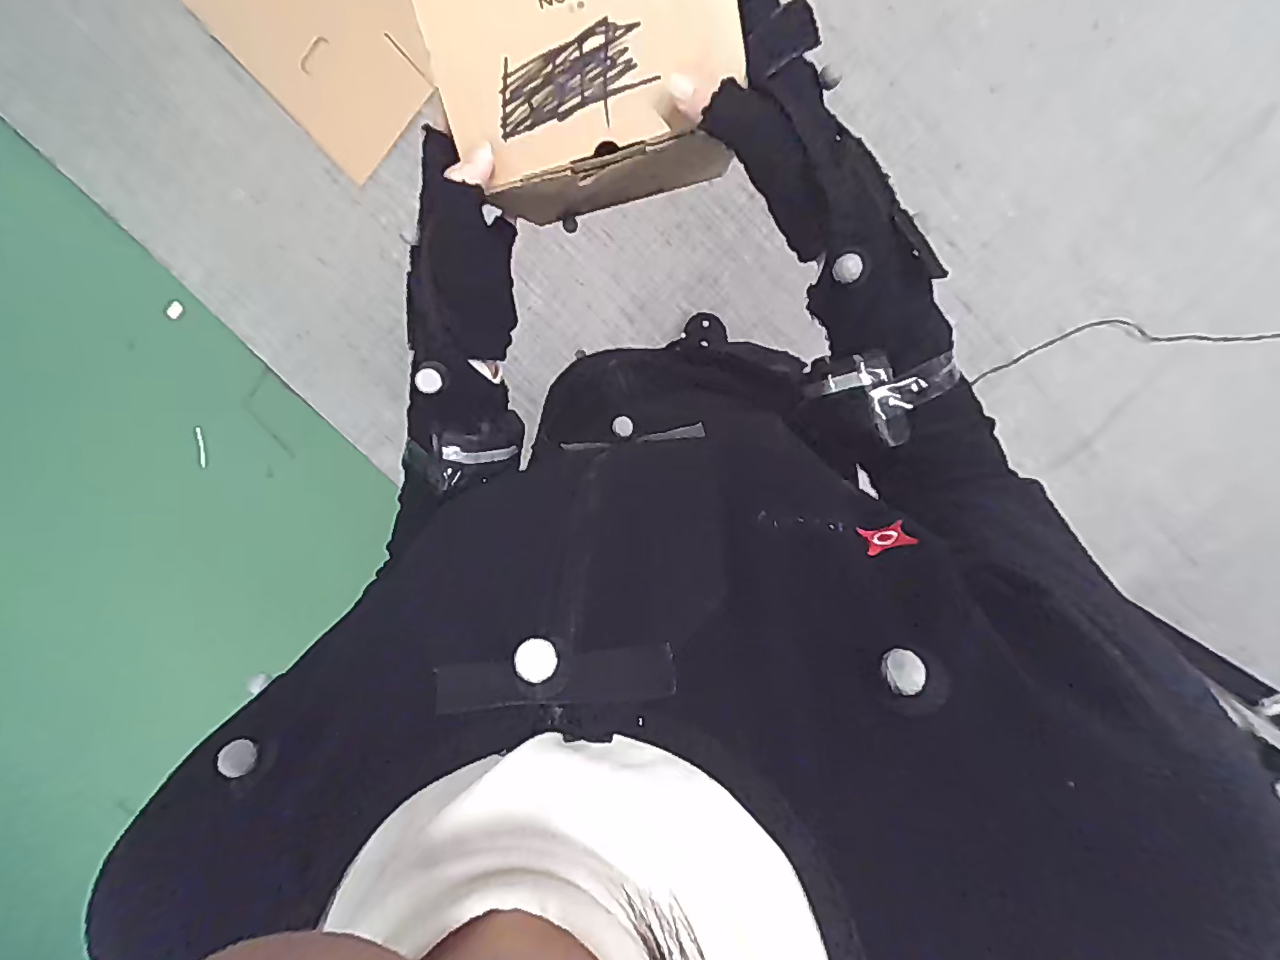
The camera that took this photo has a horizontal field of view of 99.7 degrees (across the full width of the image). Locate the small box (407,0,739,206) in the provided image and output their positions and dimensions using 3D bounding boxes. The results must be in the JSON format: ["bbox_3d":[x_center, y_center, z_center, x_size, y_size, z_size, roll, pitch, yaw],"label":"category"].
[{"bbox_3d":[-0.038,-0.297,0.356,0.168,0.176,0.179,-15,109,10],"label":"small box"}]
